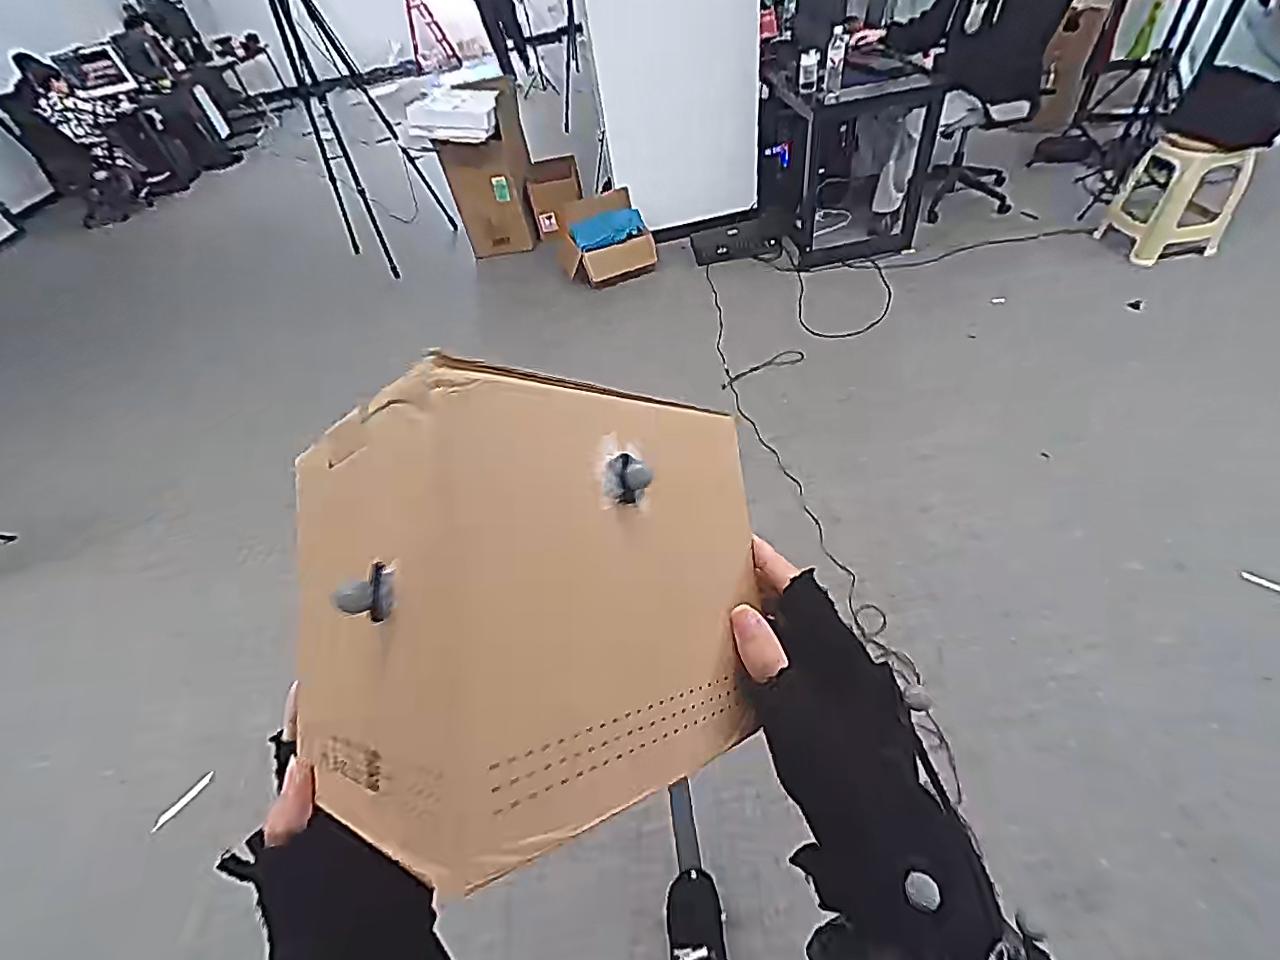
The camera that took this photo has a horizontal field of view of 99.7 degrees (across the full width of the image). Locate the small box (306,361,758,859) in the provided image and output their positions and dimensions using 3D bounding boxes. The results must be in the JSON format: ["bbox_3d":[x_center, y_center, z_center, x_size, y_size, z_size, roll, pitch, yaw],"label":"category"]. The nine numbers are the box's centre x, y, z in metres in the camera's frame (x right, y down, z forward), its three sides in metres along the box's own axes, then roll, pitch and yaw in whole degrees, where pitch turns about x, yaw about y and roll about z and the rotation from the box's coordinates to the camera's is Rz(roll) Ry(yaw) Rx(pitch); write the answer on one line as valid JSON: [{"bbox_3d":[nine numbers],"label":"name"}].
[{"bbox_3d":[-0.054,0.060,0.286,0.168,0.179,0.176,-15,76,41],"label":"small box"}]
